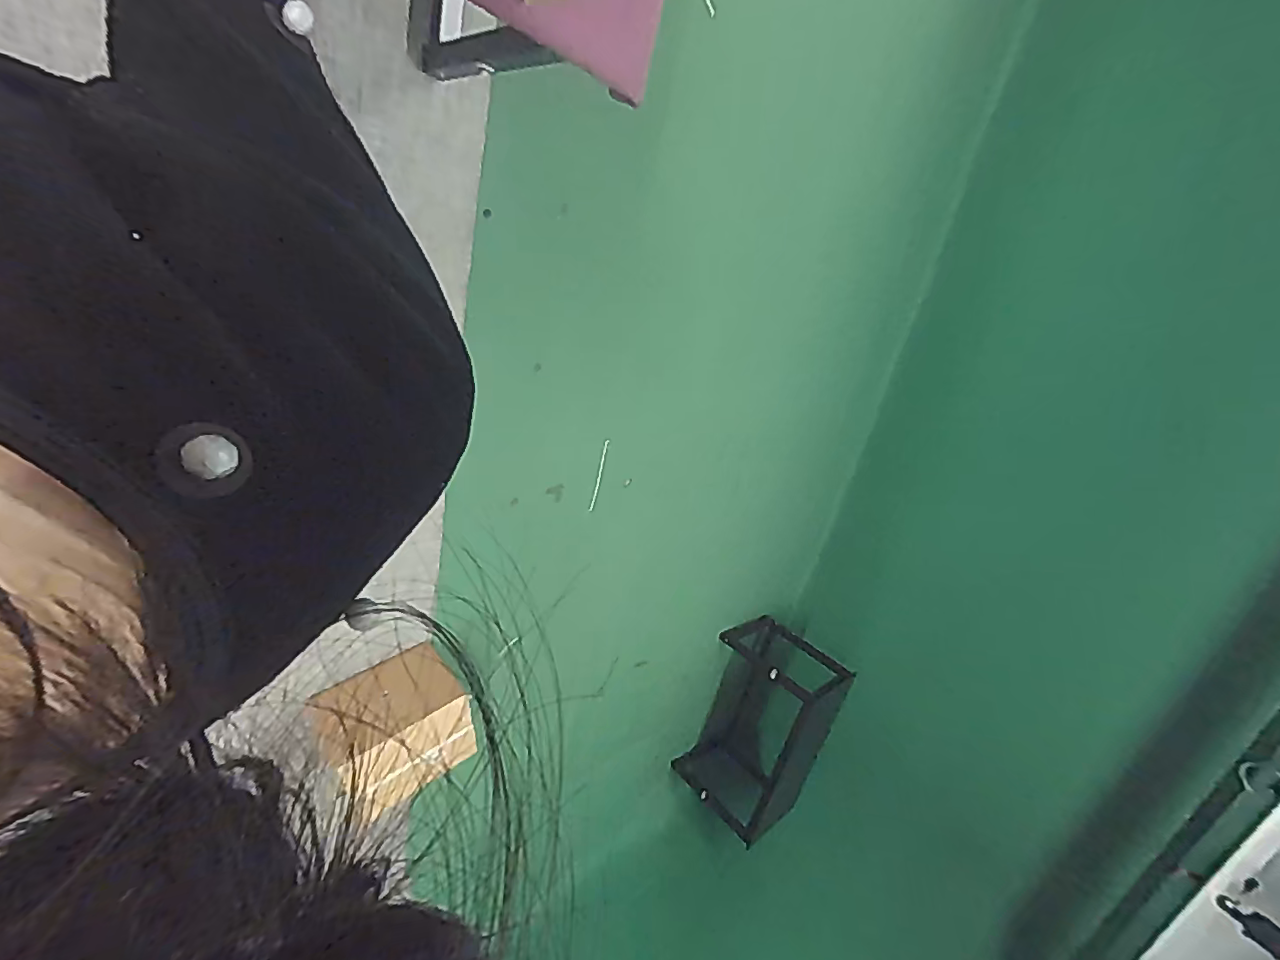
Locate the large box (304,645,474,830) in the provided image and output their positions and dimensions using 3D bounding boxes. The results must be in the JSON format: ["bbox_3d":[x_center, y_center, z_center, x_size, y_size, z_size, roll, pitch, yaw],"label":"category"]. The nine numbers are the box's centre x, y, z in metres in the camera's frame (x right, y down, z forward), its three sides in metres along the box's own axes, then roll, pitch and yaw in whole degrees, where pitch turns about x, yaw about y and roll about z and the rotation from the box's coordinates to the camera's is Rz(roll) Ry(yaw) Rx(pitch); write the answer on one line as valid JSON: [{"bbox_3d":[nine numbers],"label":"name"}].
[{"bbox_3d":[-0.829,0.839,1.814,0.408,0.320,0.320,-23,129,-38],"label":"large box"}]
